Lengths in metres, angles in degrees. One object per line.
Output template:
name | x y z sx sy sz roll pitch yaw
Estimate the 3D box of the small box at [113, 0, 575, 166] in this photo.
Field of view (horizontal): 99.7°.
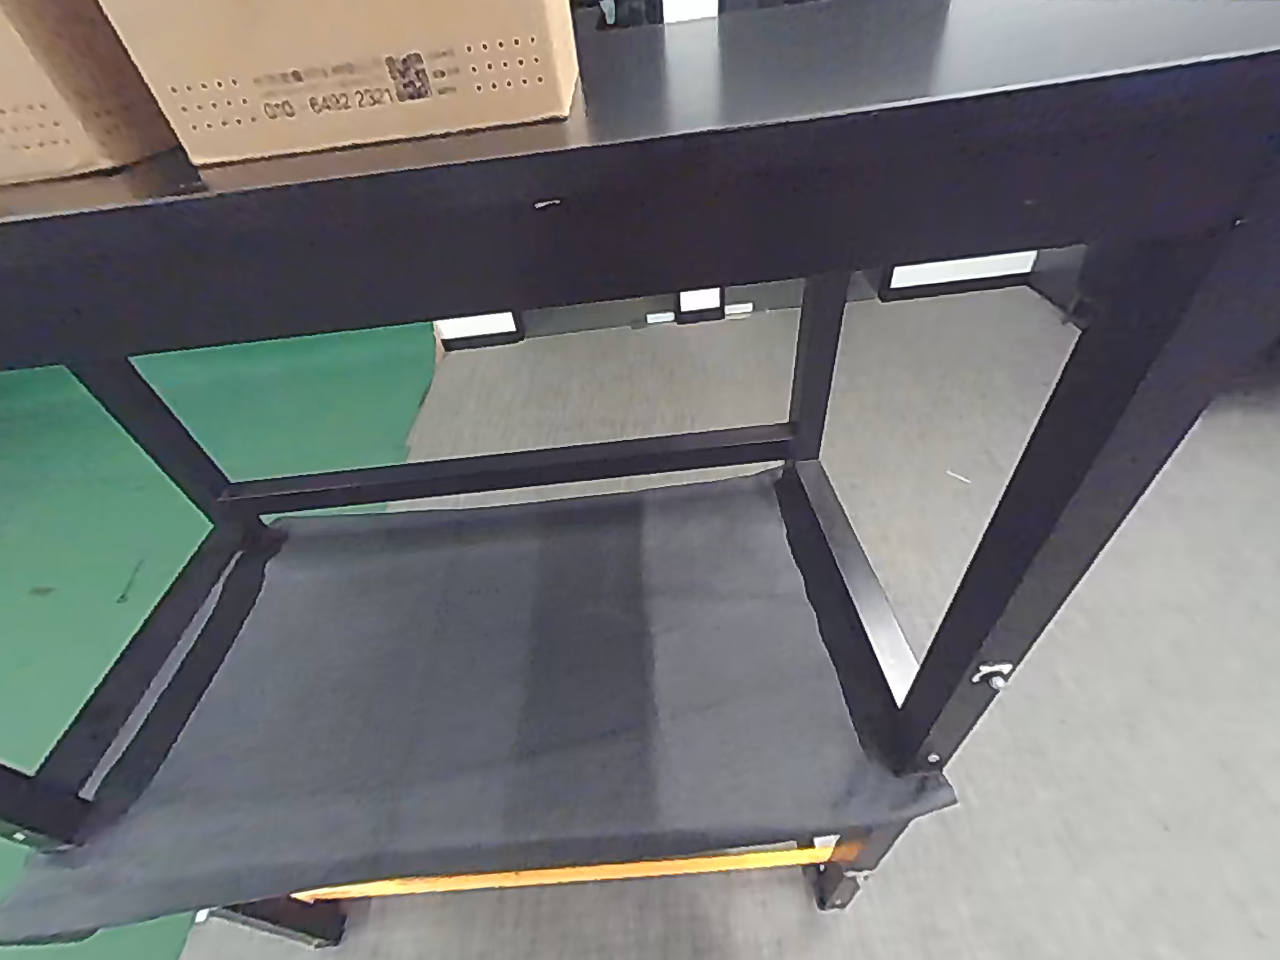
small box | -0.126 -0.256 0.245 0.168 0.176 0.179 -6 42 1
